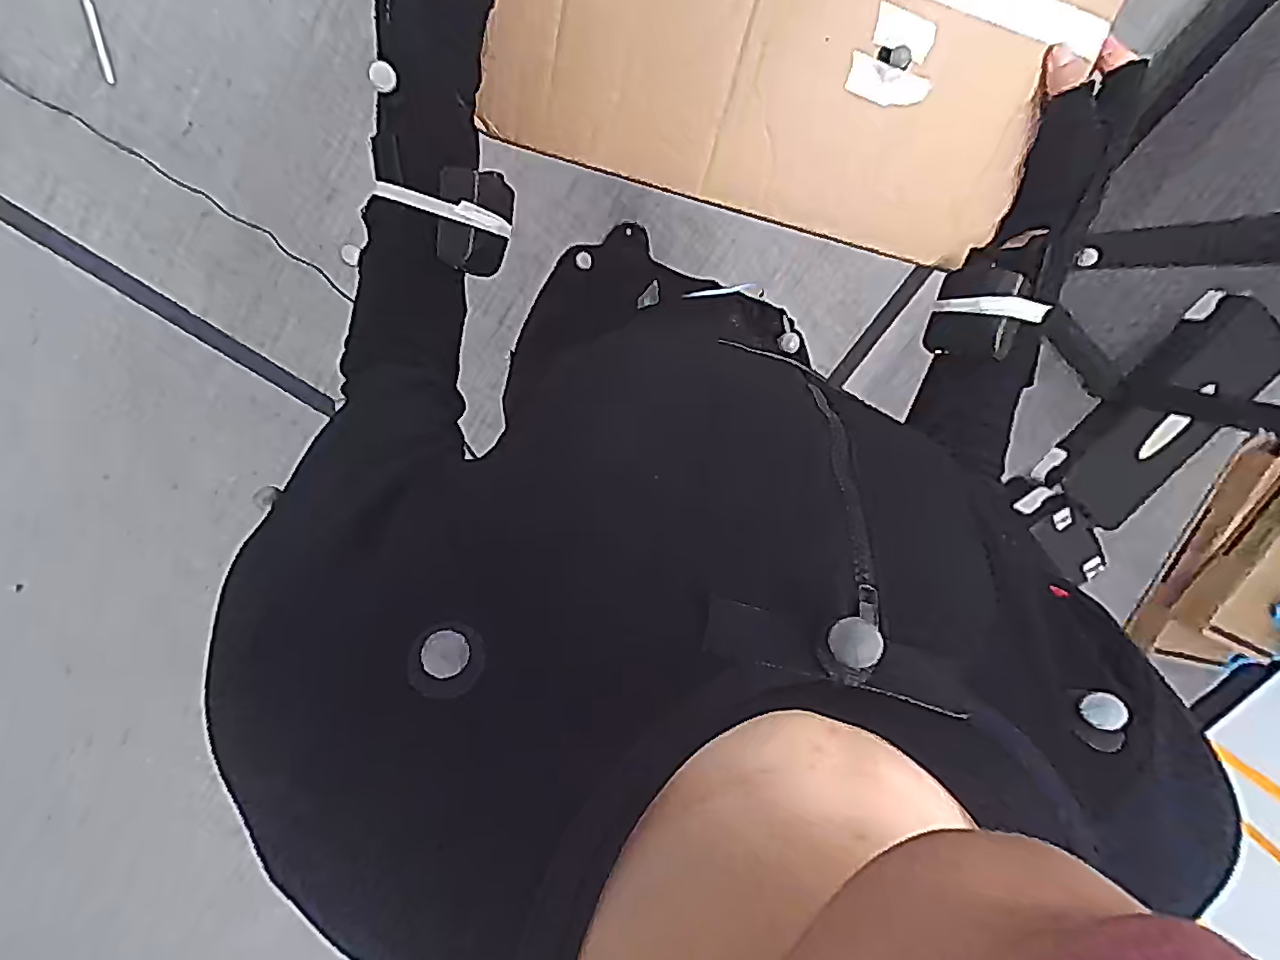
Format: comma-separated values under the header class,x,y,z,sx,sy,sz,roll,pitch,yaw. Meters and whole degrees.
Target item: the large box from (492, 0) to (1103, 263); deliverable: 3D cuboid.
class,x,y,z,sx,sy,sz,roll,pitch,yaw
large box,0.109,-0.421,0.478,0.408,0.320,0.320,11,120,-11
